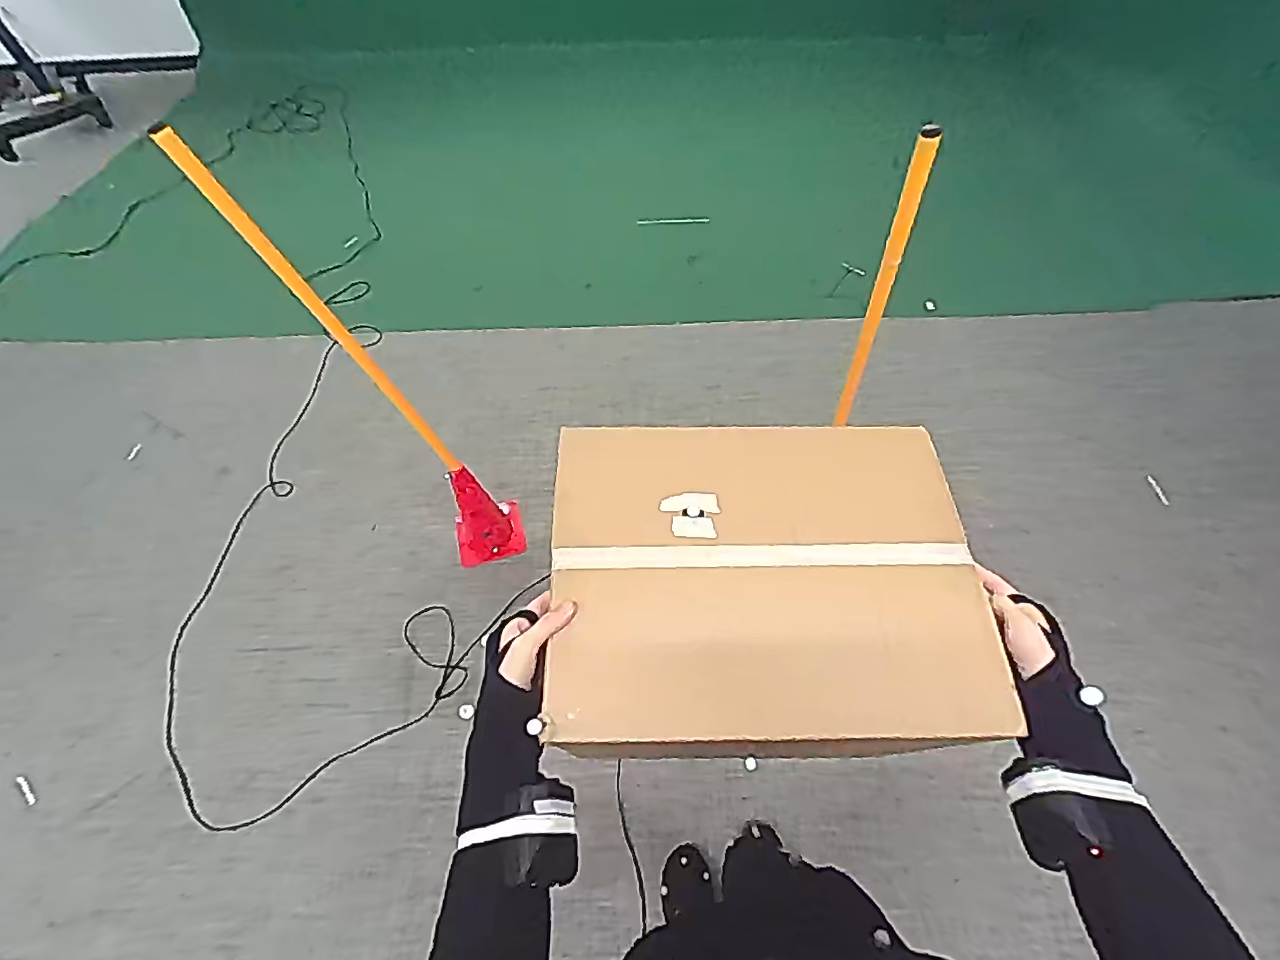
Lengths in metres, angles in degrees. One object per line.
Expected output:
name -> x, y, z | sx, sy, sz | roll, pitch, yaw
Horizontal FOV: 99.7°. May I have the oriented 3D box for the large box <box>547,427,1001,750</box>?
large box -> 0.117, 0.152, 0.668 | 0.408, 0.320, 0.320 | -1, 60, 0
